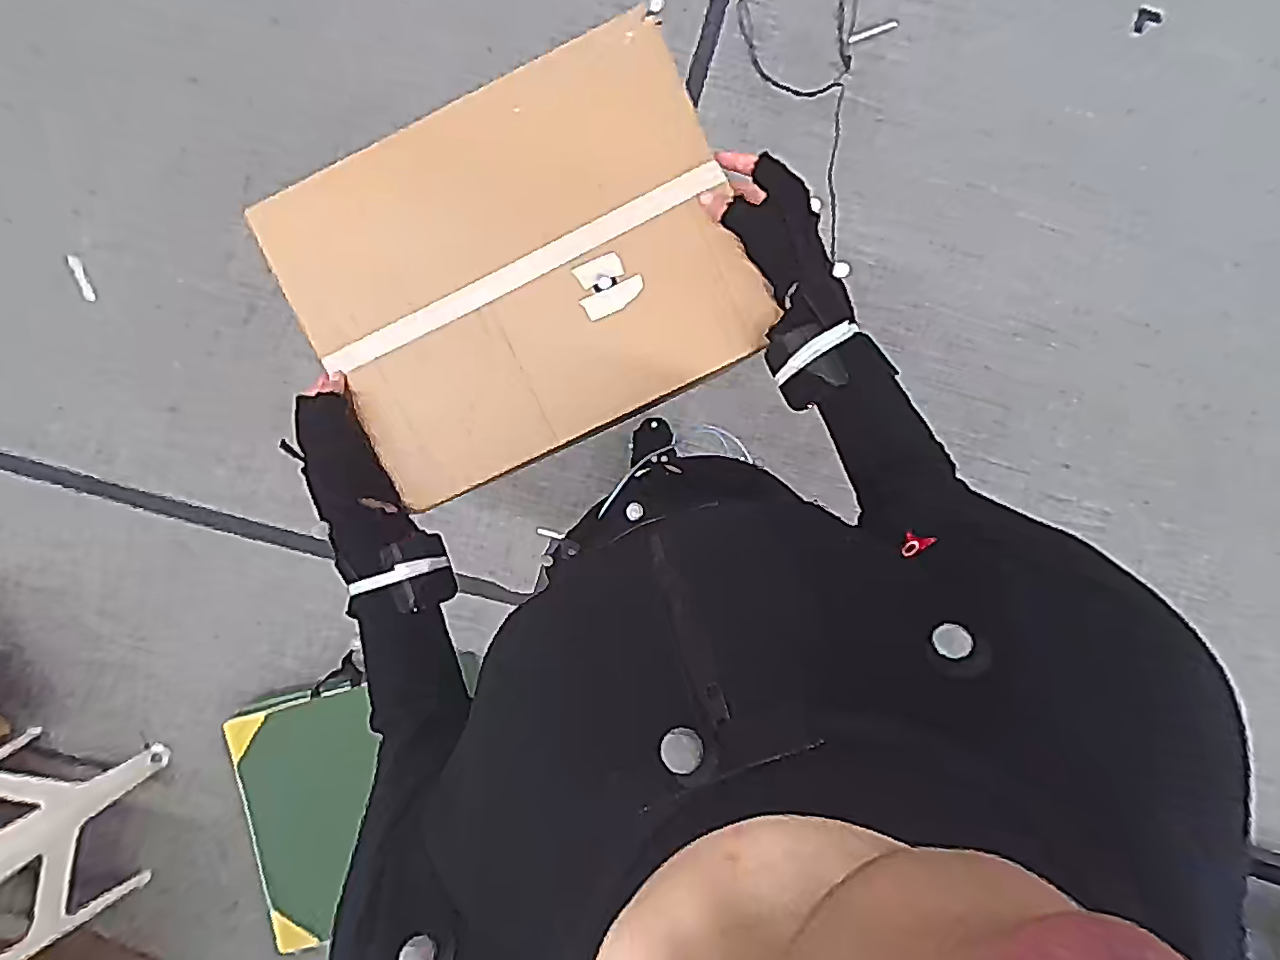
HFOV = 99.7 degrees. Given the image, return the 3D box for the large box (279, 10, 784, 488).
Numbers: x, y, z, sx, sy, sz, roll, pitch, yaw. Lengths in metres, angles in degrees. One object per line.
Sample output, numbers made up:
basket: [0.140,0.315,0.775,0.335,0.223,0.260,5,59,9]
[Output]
large box: [-0.102,-0.222,0.660,0.408,0.320,0.320,-24,97,2]
